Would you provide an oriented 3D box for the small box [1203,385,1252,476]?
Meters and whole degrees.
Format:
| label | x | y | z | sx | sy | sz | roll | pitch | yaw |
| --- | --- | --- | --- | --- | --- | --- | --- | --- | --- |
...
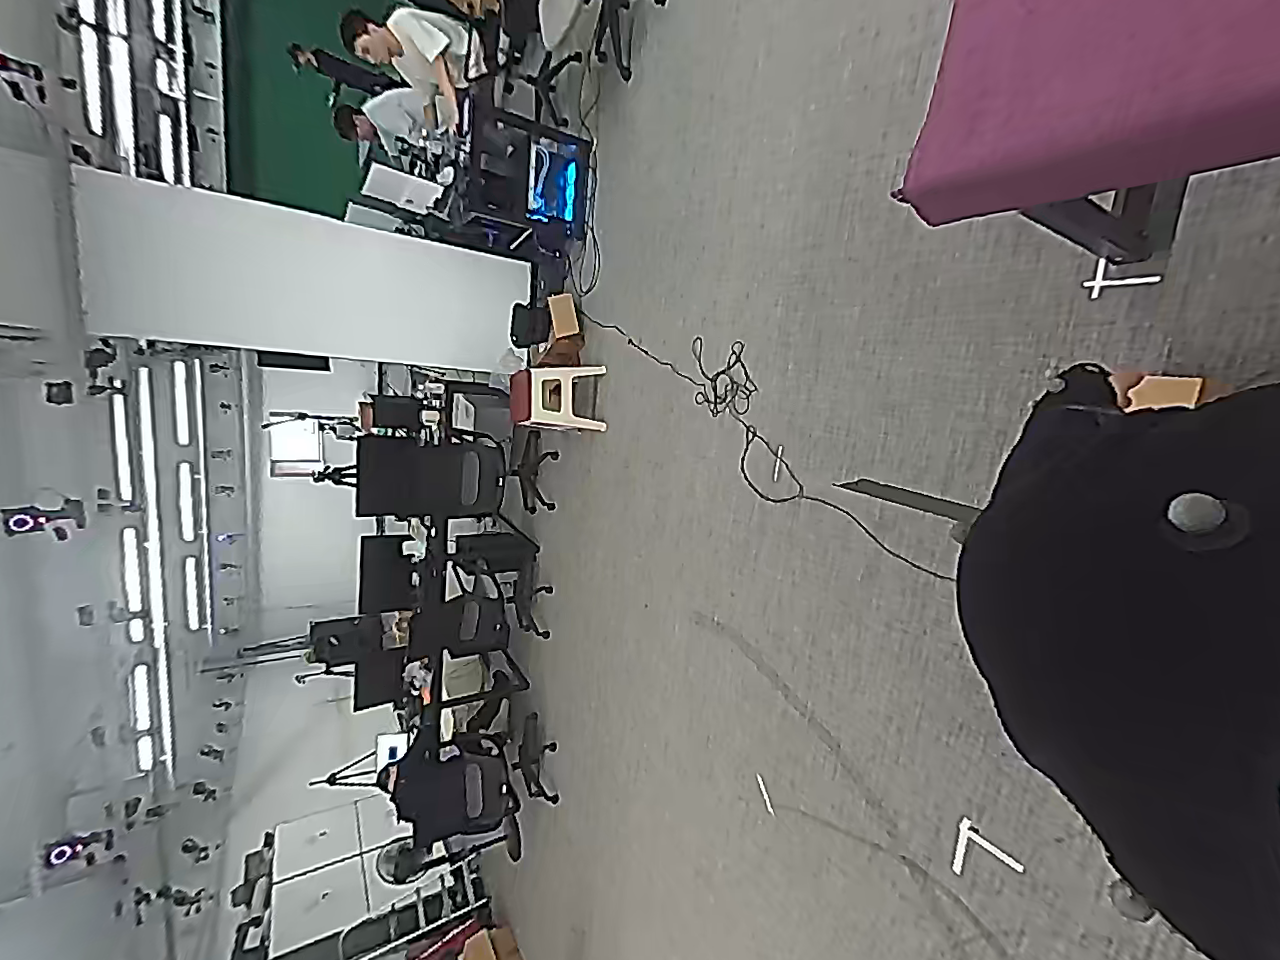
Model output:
| label | x | y | z | sx | sy | sz | roll | pitch | yaw |
| --- | --- | --- | --- | --- | --- | --- | --- | --- | --- |
| small box | 1.059 | -0.110 | 1.078 | 0.168 | 0.176 | 0.179 | 31 | 117 | 53 |

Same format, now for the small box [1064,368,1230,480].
| label | x | y | z | sx | sy | sz | roll | pitch | yaw |
| --- | --- | --- | --- | --- | --- | --- | --- | --- | --- |
| small box | 0.923 | -0.103 | 0.984 | 0.168 | 0.176 | 0.179 | 23 | 111 | 55 |
